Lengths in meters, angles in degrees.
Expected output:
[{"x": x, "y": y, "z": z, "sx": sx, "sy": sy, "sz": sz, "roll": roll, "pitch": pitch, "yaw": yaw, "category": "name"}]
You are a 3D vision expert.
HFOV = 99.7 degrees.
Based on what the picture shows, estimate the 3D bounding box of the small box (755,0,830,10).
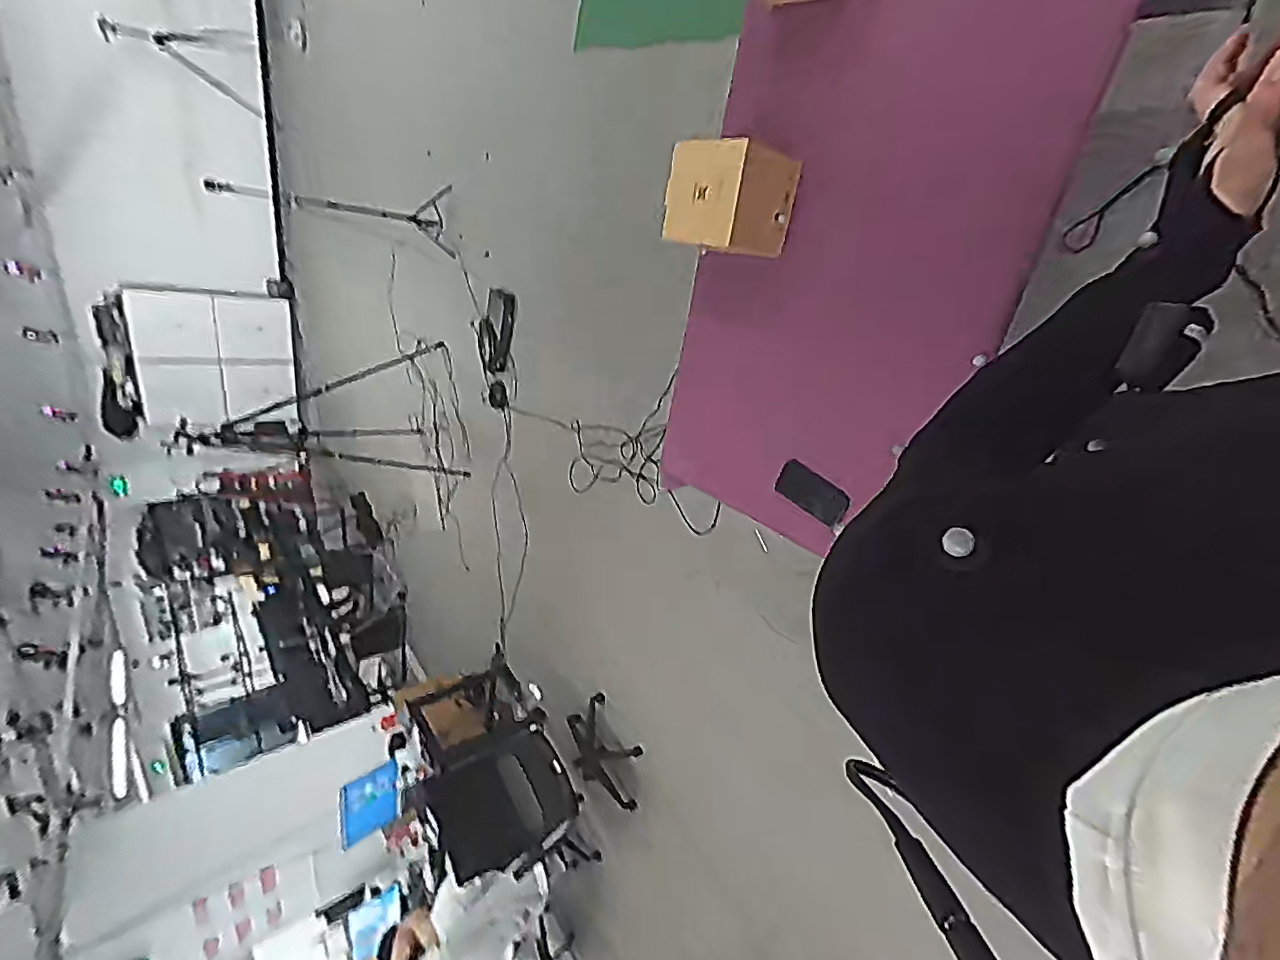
[{"x": 0.240, "y": -0.883, "z": 0.852, "sx": 0.179, "sy": 0.176, "sz": 0.168, "roll": 34, "pitch": 123, "yaw": 41, "category": "small box"}]

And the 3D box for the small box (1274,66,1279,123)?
[{"x": 0.519, "y": -0.332, "z": 0.318, "sx": 0.168, "sy": 0.176, "sz": 0.179, "roll": 11, "pitch": 110, "yaw": 43, "category": "small box"}]

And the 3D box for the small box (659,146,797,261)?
[{"x": 0.164, "y": -0.515, "z": 1.021, "sx": 0.179, "sy": 0.176, "sz": 0.168, "roll": 29, "pitch": 120, "yaw": 41, "category": "small box"}]
